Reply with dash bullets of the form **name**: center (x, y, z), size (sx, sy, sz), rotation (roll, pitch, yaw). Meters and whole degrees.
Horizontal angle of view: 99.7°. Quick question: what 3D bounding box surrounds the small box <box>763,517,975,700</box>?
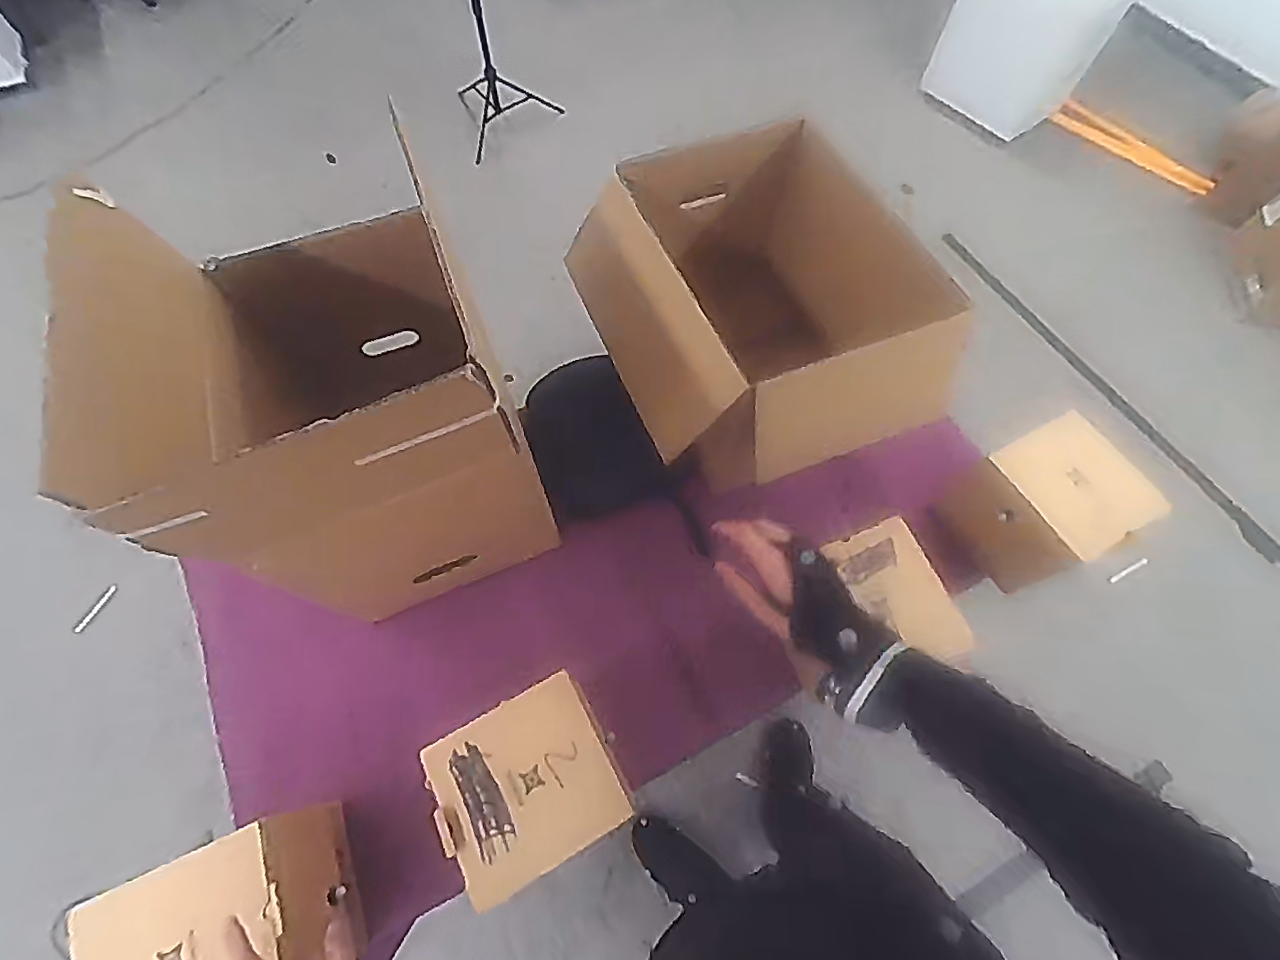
- **small box**: center (0.285, 0.177, 0.721), size (0.168, 0.176, 0.179), rotation (-19, 68, -9)

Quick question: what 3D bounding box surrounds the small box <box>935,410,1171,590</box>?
- **small box**: center (0.579, 0.035, 0.788), size (0.168, 0.176, 0.179), rotation (-26, 68, -11)

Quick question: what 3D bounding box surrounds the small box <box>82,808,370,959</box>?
- **small box**: center (-0.423, 0.479, 0.574), size (0.179, 0.176, 0.168), rotation (-22, 67, -12)
